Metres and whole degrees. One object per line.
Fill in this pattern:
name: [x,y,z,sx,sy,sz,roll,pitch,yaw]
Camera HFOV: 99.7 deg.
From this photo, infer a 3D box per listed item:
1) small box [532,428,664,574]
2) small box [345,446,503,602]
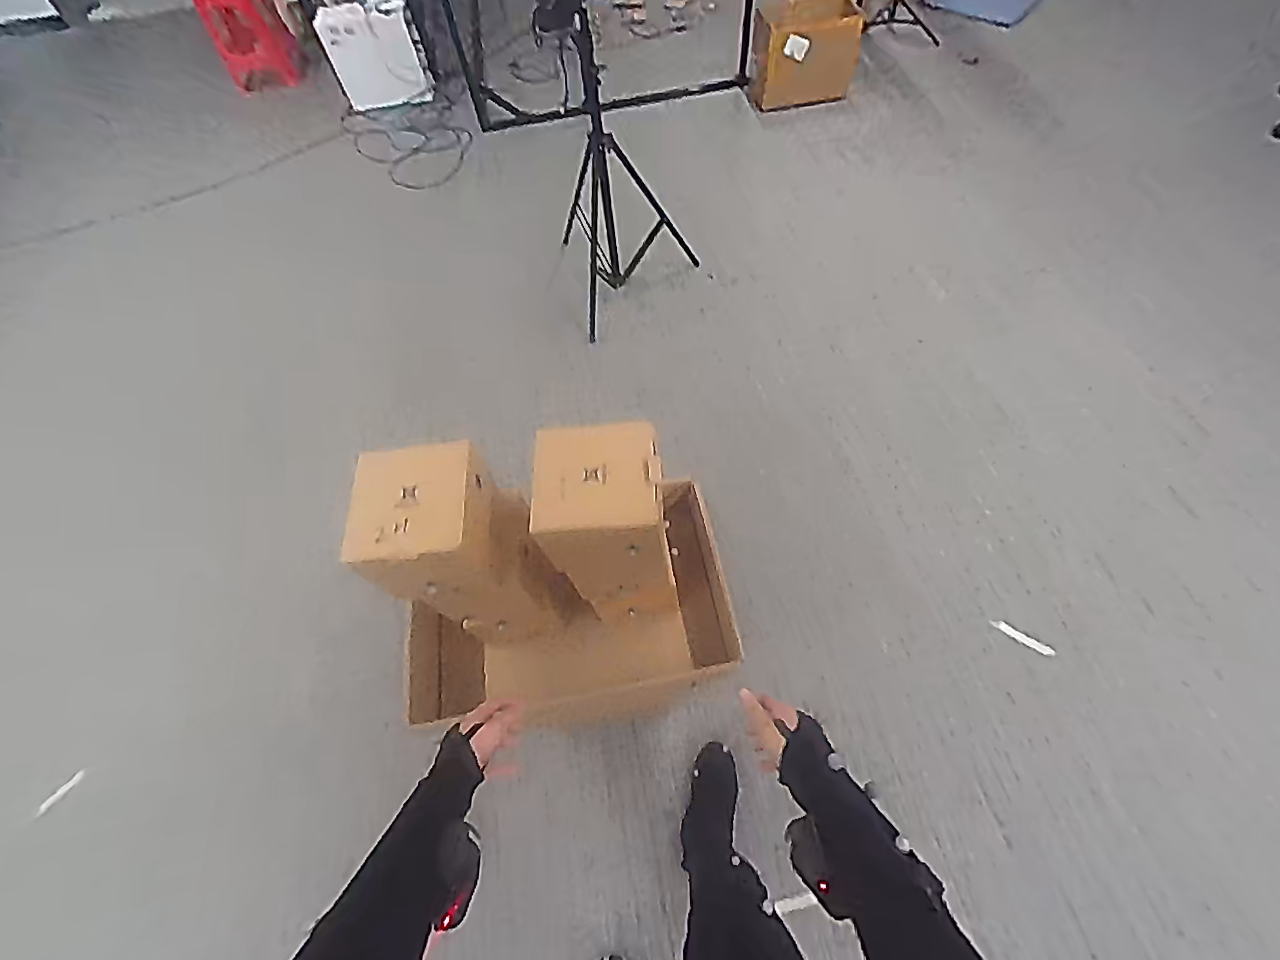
small box: [-0.053,0.038,0.826,0.179,0.176,0.168,-4,61,5]
small box: [-0.313,0.071,0.825,0.168,0.176,0.179,-6,61,1]
